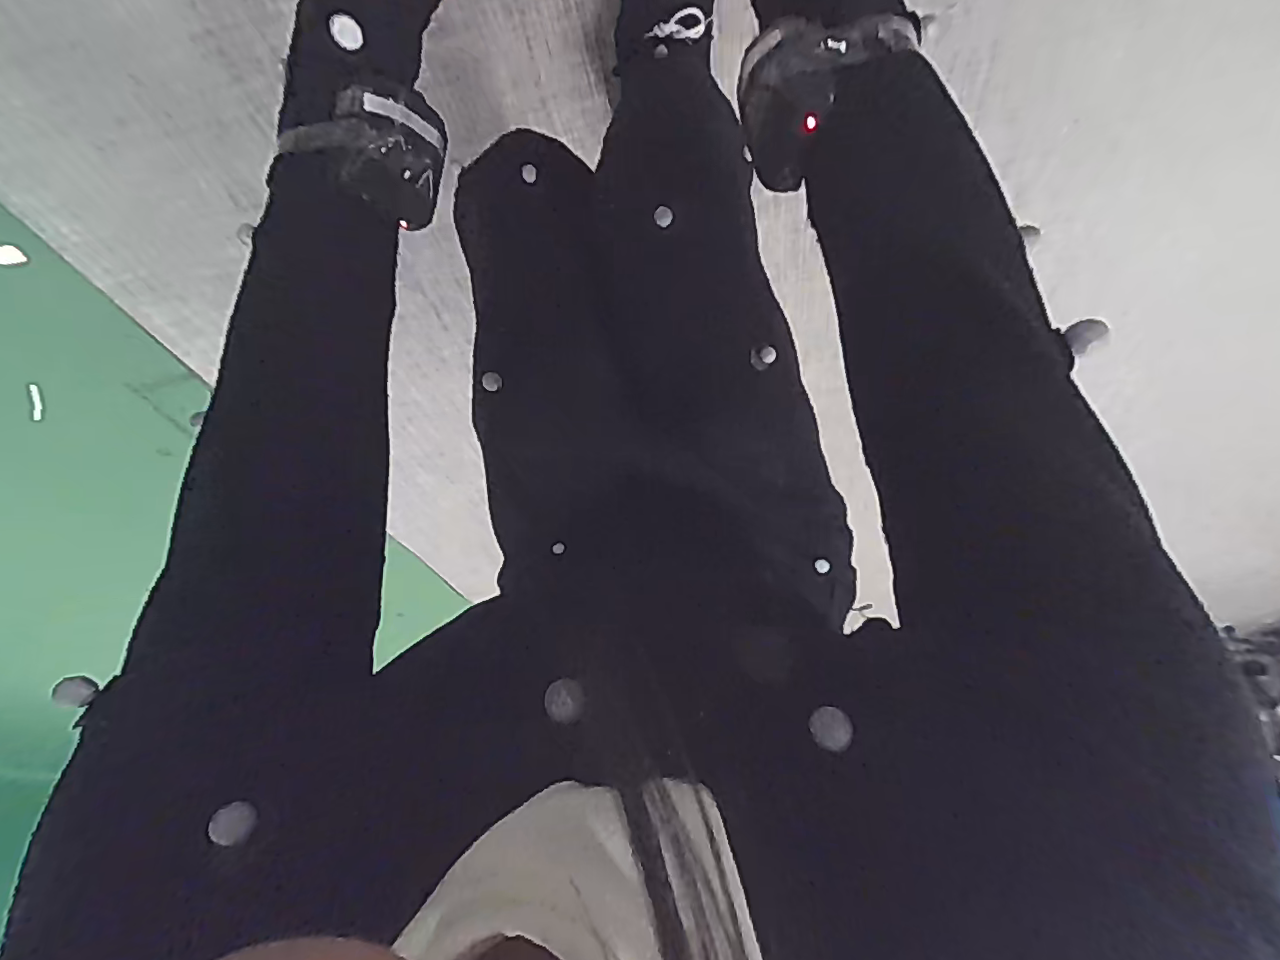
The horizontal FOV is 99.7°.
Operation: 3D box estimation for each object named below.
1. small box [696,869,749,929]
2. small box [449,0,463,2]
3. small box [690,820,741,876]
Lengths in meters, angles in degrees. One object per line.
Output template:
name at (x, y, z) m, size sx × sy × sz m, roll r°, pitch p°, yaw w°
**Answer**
small box at (0.317, 1.618, 2.090) m, size 0.179 × 0.176 × 0.168 m, roll -12°, pitch 143°, yaw 8°
small box at (-0.079, -0.468, 0.387) m, size 0.179 × 0.176 × 0.168 m, roll -12°, pitch 132°, yaw 0°
small box at (0.305, 1.500, 2.200) m, size 0.179 × 0.176 × 0.168 m, roll -12°, pitch 144°, yaw 7°
